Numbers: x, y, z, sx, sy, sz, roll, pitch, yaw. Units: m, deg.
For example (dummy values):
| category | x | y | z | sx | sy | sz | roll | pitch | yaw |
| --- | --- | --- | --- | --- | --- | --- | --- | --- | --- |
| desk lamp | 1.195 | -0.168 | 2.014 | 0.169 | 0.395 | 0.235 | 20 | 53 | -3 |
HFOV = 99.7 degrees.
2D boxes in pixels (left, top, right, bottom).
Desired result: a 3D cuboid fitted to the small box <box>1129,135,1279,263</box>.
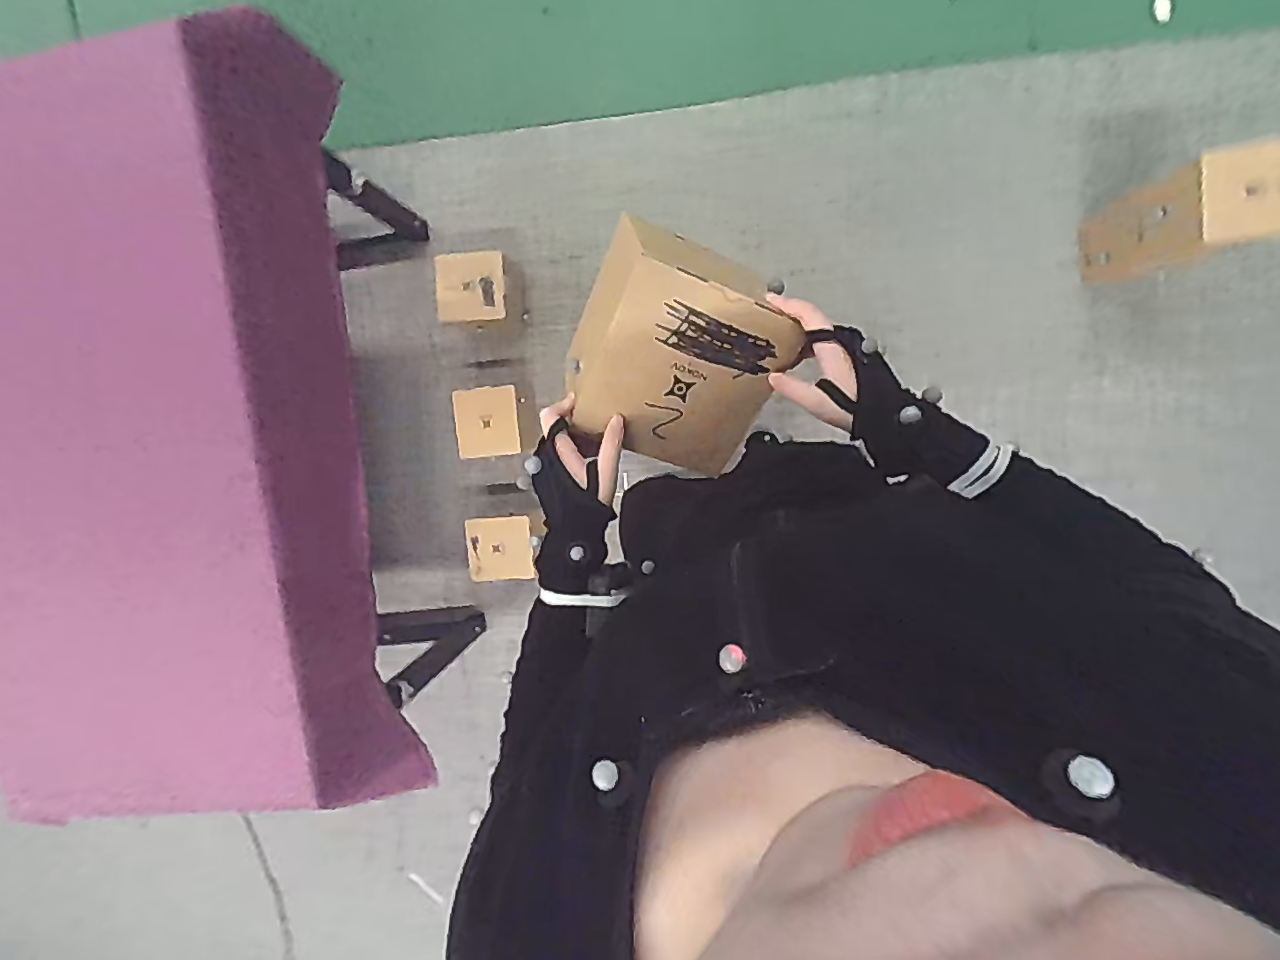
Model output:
| category | x | y | z | sx | sy | sz | roll | pitch | yaw |
| --- | --- | --- | --- | --- | --- | --- | --- | --- | --- |
| small box | 1.108 | -0.538 | 1.057 | 0.179 | 0.176 | 0.168 | -6 | 96 | 8 |

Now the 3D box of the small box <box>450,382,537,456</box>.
| category | x | y | z | sx | sy | sz | roll | pitch | yaw |
| --- | --- | --- | --- | --- | --- | --- | --- | --- | --- |
| small box | -0.386 | -0.163 | 1.452 | 0.168 | 0.176 | 0.179 | -5 | 95 | 8 |

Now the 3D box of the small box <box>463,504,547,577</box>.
| category | x | y | z | sx | sy | sz | roll | pitch | yaw |
| --- | --- | --- | --- | --- | --- | --- | --- | --- | --- |
| small box | -0.359 | 0.161 | 1.479 | 0.179 | 0.176 | 0.168 | -5 | 93 | 7 |
